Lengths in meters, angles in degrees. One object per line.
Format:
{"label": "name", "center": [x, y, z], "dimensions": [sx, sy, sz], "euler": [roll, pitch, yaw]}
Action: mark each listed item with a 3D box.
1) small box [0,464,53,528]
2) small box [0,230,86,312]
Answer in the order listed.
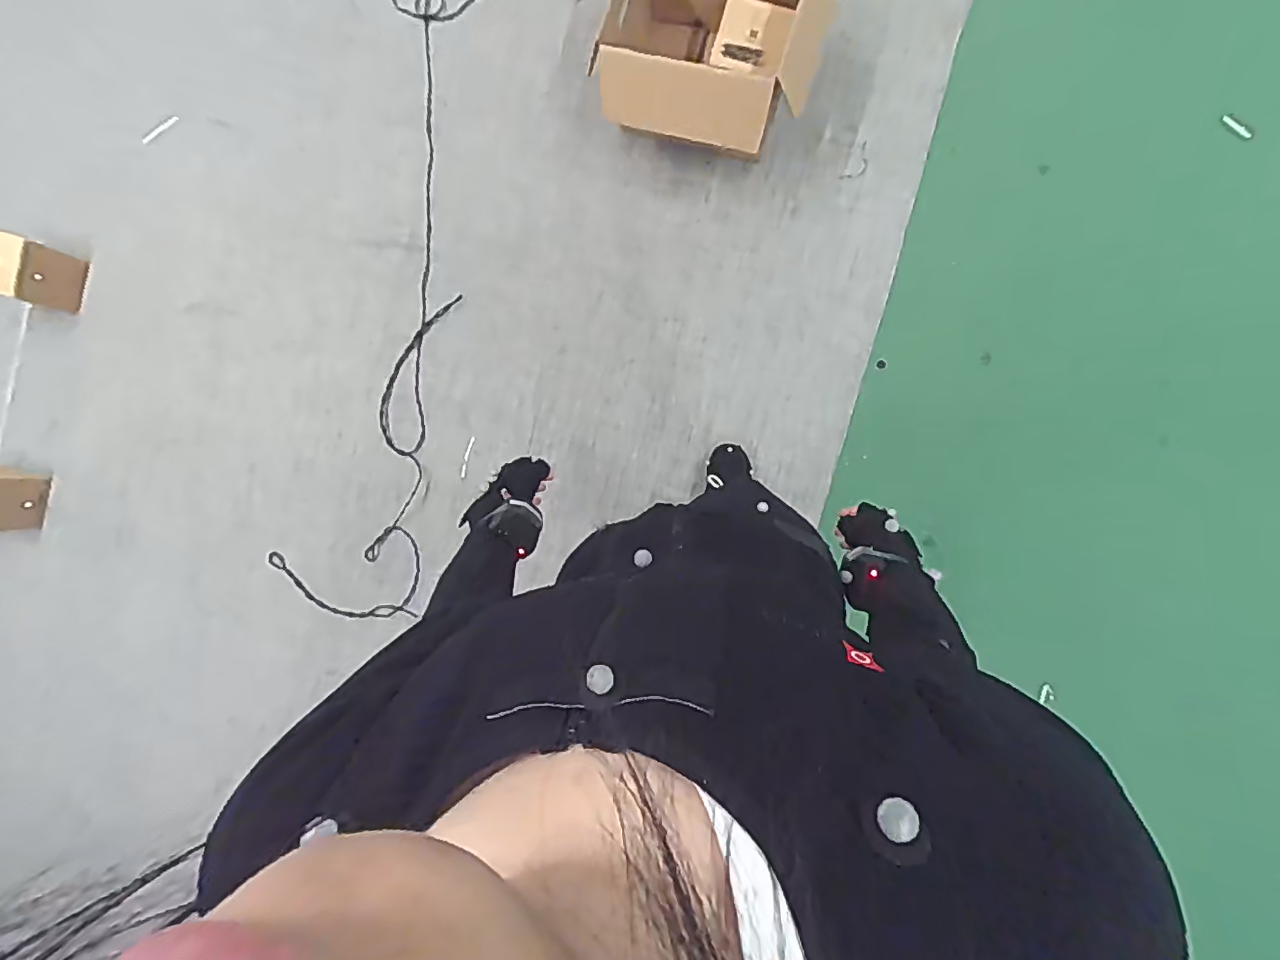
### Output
{"label": "small box", "center": [-1.959, 0.048, 1.633], "dimensions": [0.179, 0.176, 0.168], "euler": [14, 93, 6]}
{"label": "small box", "center": [-1.809, -0.620, 1.599], "dimensions": [0.168, 0.176, 0.179], "euler": [14, 94, 5]}
